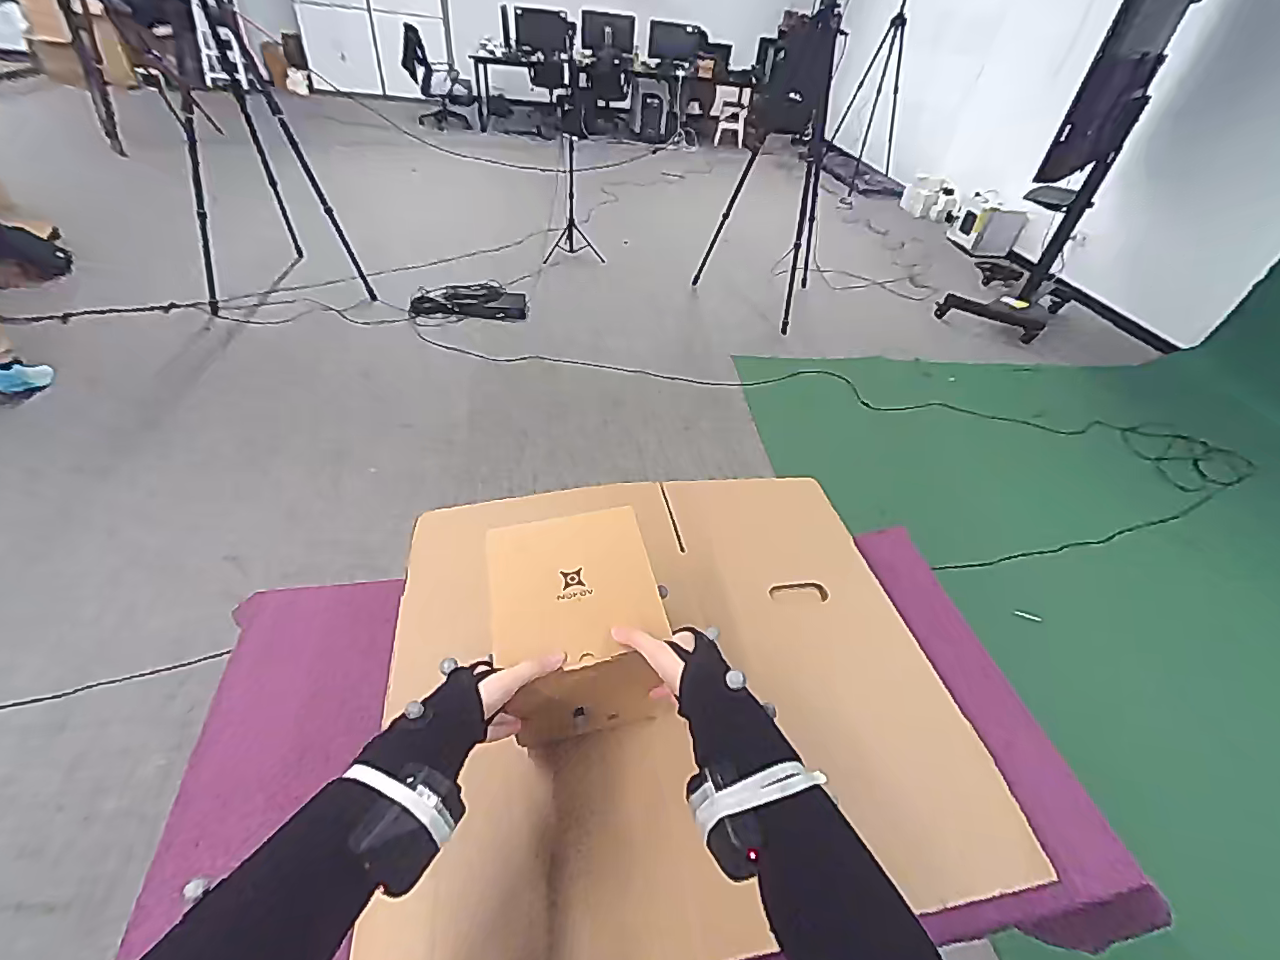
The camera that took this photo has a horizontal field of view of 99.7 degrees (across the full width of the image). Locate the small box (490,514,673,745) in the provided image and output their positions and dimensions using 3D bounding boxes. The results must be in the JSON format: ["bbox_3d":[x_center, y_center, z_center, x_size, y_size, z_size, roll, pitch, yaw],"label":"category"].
[{"bbox_3d":[-0.069,0.166,0.608,0.168,0.176,0.179,-10,48,-10],"label":"small box"}]
